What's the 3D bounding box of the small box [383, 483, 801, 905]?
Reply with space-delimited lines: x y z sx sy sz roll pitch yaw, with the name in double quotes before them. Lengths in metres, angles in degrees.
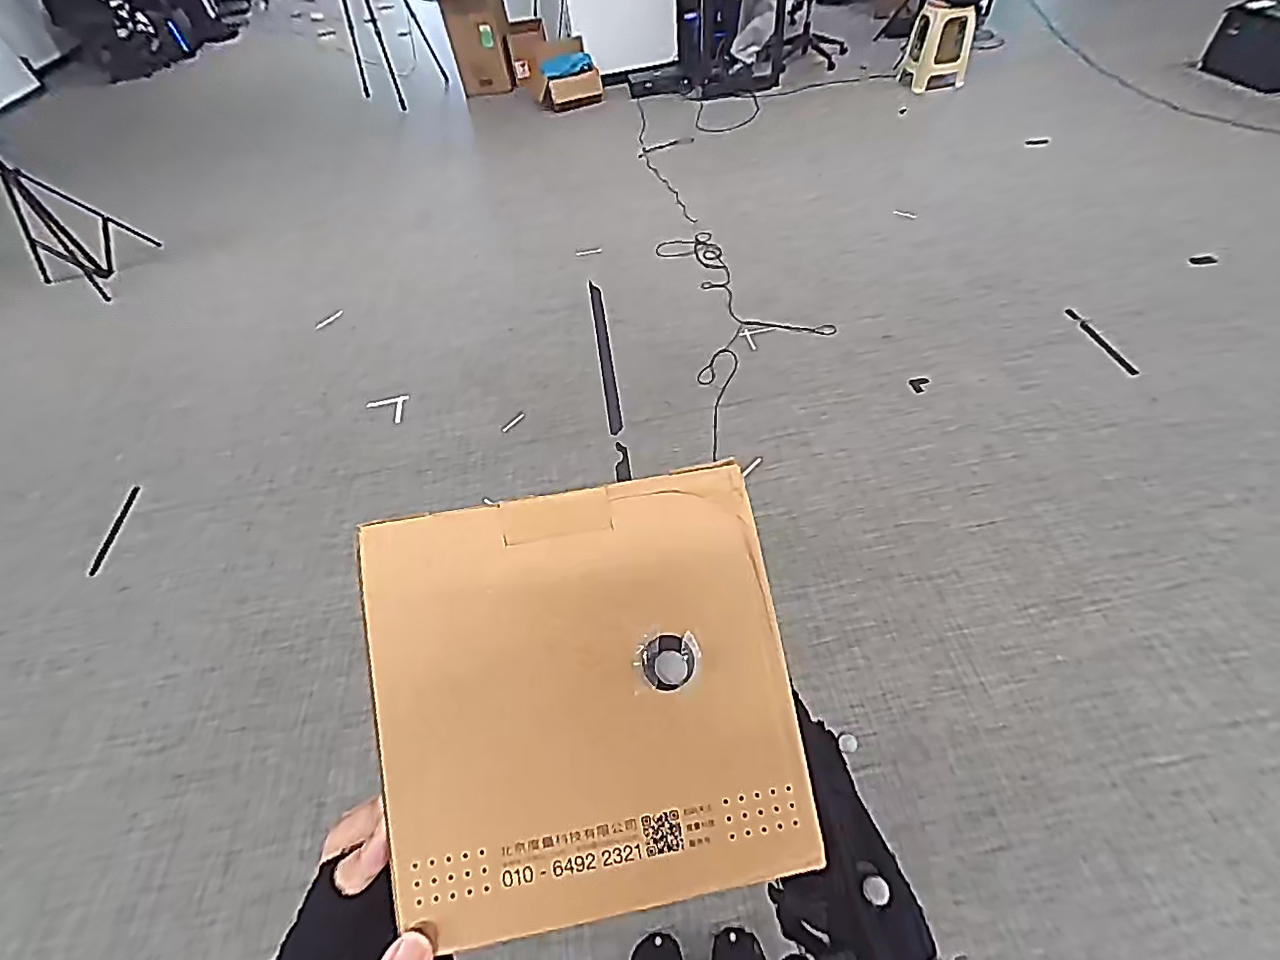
"small box" -0.021 0.108 0.315 0.168 0.179 0.176 -10 82 -2
